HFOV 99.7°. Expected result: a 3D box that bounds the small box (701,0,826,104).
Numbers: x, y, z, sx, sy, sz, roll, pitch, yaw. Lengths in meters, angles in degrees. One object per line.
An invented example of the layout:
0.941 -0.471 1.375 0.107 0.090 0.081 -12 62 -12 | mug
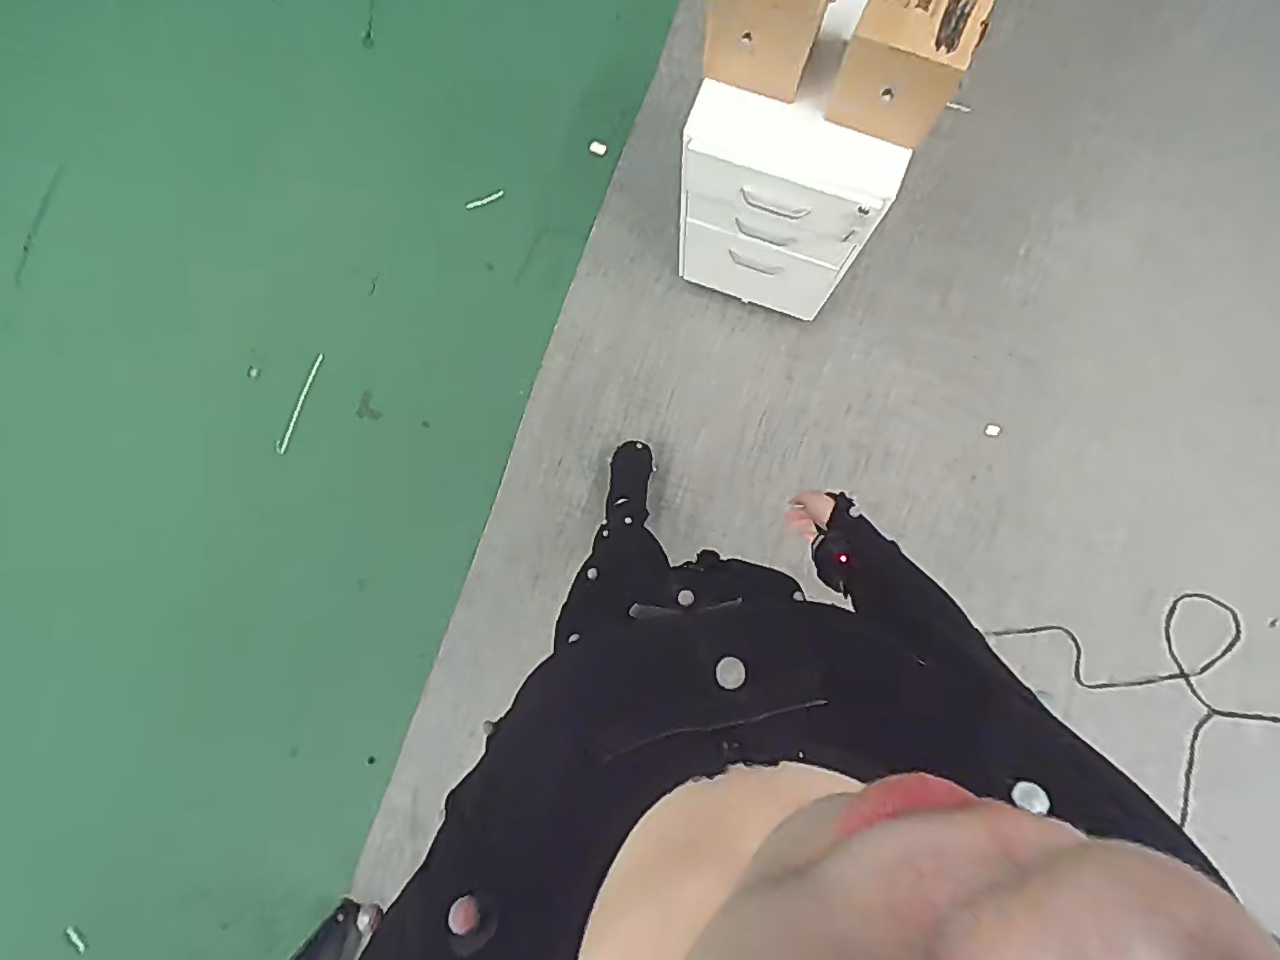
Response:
0.210 -0.783 0.909 0.179 0.176 0.168 20 85 4 | small box

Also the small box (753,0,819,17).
0.204 -0.802 0.747 0.179 0.176 0.168 22 85 3 | small box
